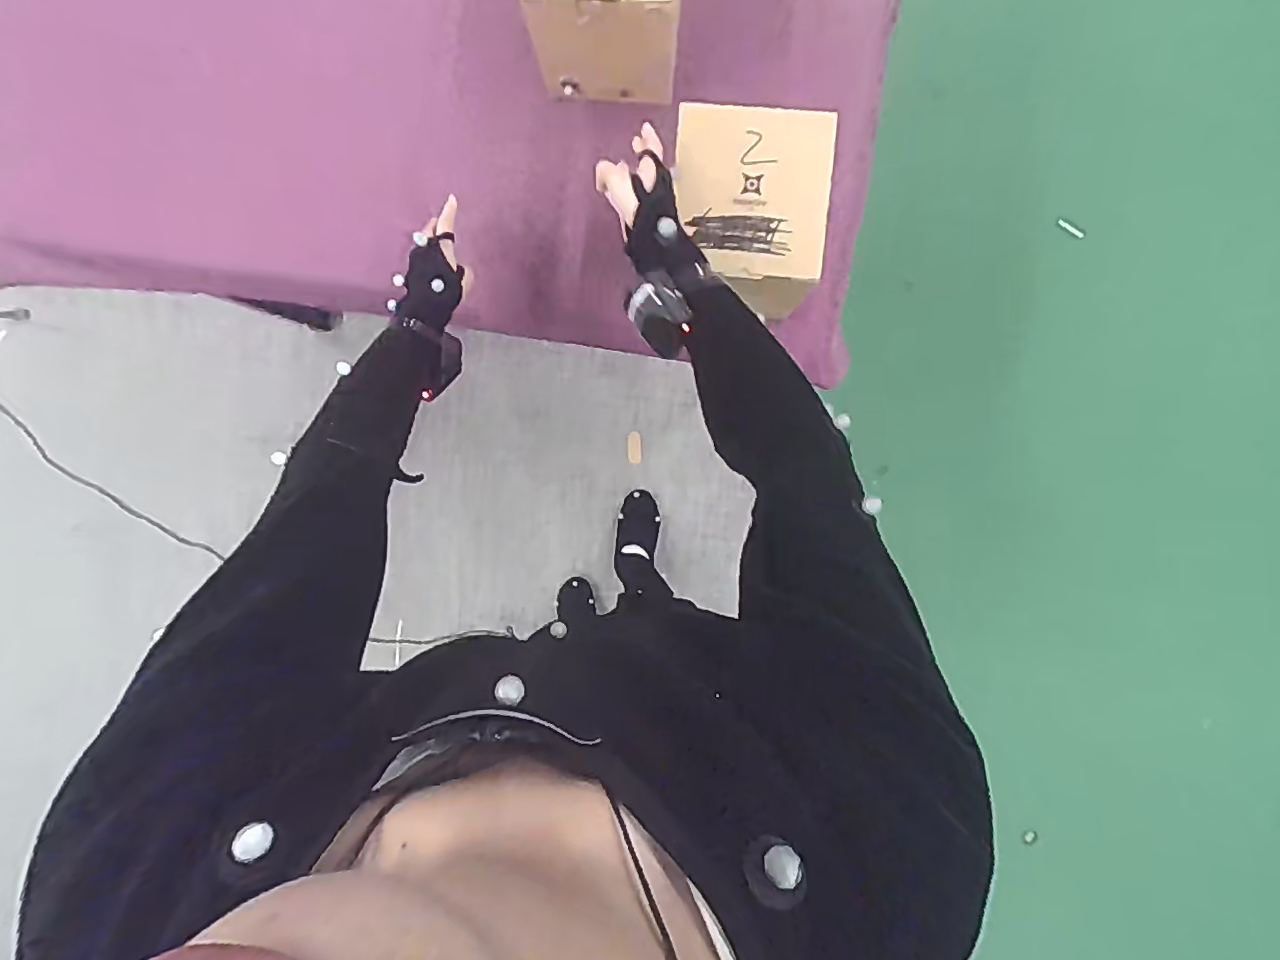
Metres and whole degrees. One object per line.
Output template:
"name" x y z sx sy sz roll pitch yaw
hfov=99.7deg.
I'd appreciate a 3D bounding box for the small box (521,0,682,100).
"small box" -0.033 -0.585 0.631 0.168 0.176 0.179 6 93 1
